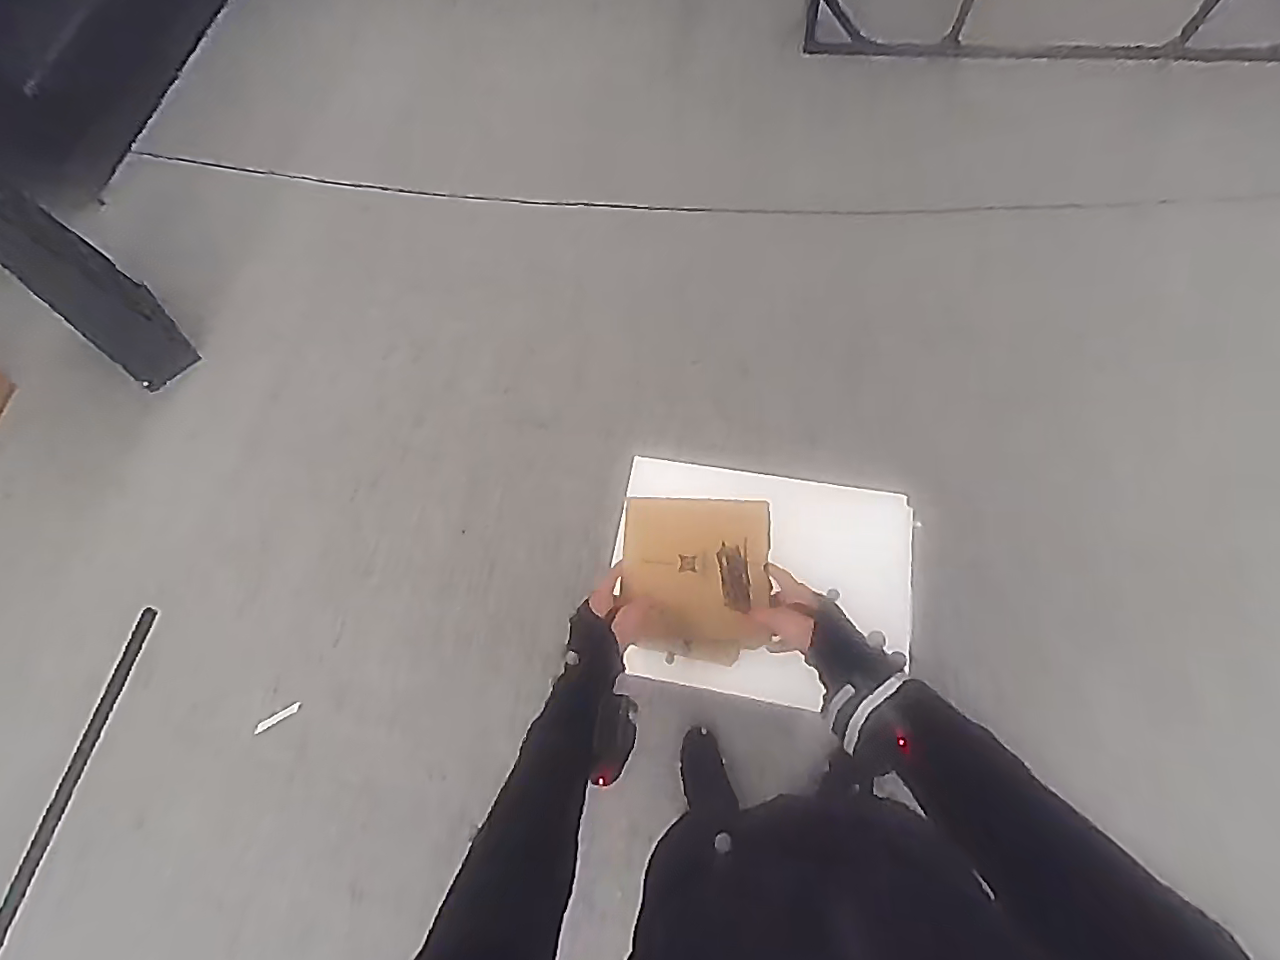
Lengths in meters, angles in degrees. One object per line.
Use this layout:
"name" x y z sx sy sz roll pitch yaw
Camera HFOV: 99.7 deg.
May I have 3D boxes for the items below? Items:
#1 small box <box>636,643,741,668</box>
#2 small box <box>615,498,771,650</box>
"small box" 0.081 0.189 0.859 0.168 0.176 0.179 9 69 9
"small box" 0.070 0.129 0.703 0.179 0.176 0.168 1 69 7
